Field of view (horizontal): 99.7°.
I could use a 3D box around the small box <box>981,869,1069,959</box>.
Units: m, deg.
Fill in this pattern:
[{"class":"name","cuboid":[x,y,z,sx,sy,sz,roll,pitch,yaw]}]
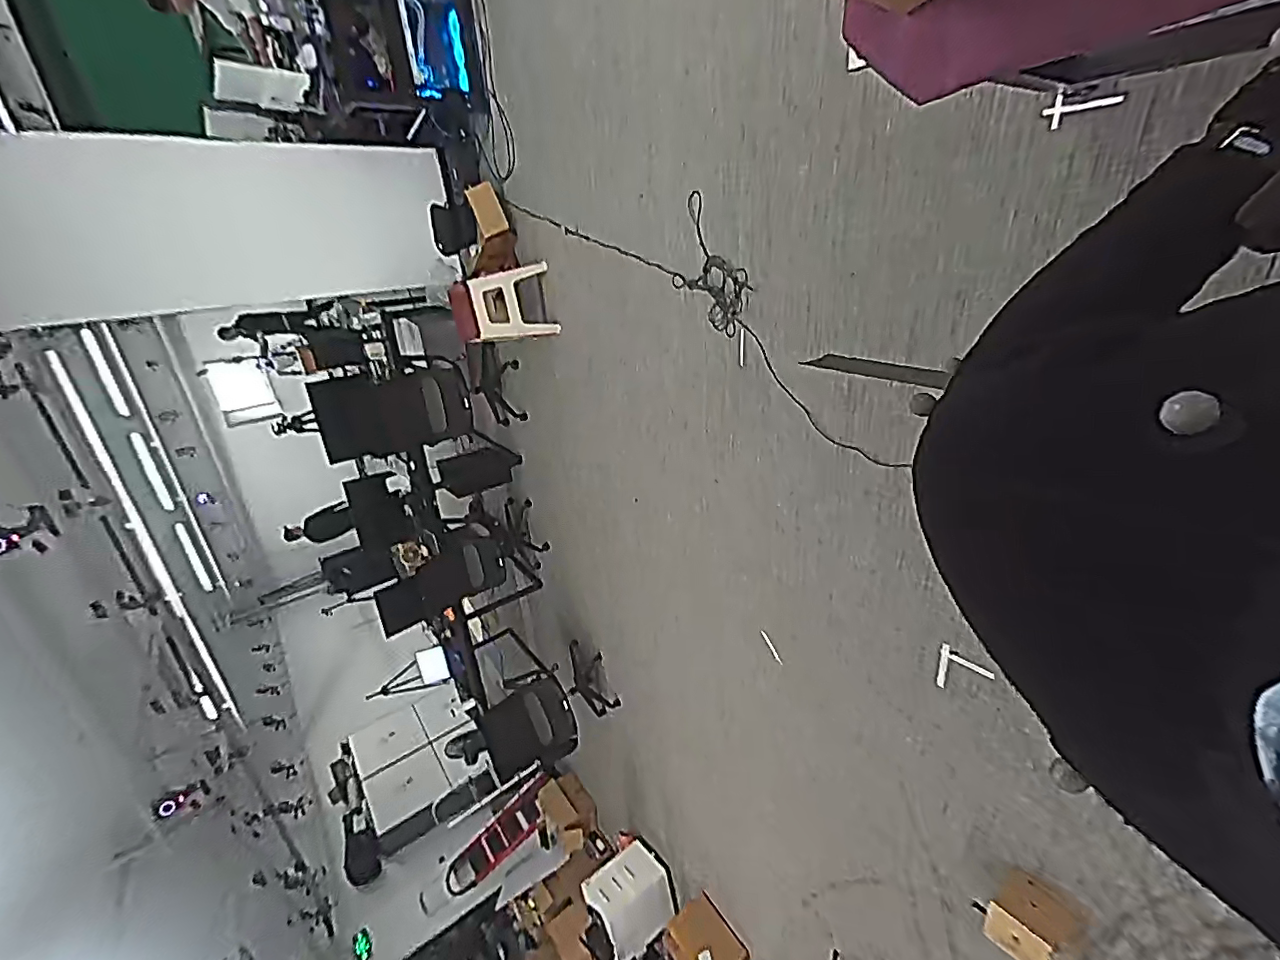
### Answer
[{"class":"small box","cuboid":[1.202,1.377,1.686,0.168,0.176,0.179,24,127,49]}]
